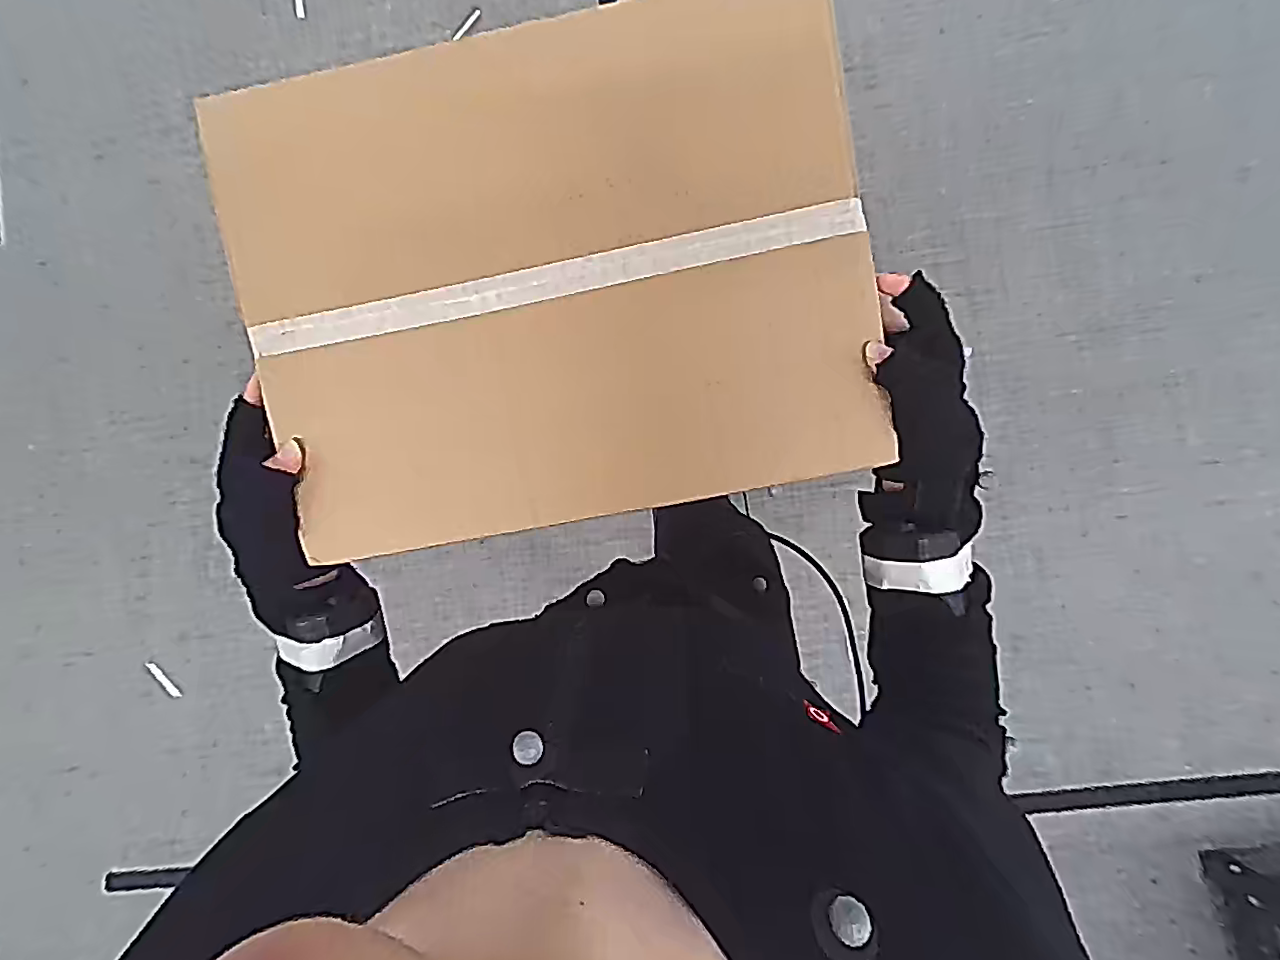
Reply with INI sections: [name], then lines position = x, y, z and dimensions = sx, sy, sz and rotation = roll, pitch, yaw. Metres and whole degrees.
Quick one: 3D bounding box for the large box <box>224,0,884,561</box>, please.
[large box]
position = -0.049, -0.143, 0.509
dimensions = 0.408, 0.320, 0.320
rotation = -10, 94, 4
